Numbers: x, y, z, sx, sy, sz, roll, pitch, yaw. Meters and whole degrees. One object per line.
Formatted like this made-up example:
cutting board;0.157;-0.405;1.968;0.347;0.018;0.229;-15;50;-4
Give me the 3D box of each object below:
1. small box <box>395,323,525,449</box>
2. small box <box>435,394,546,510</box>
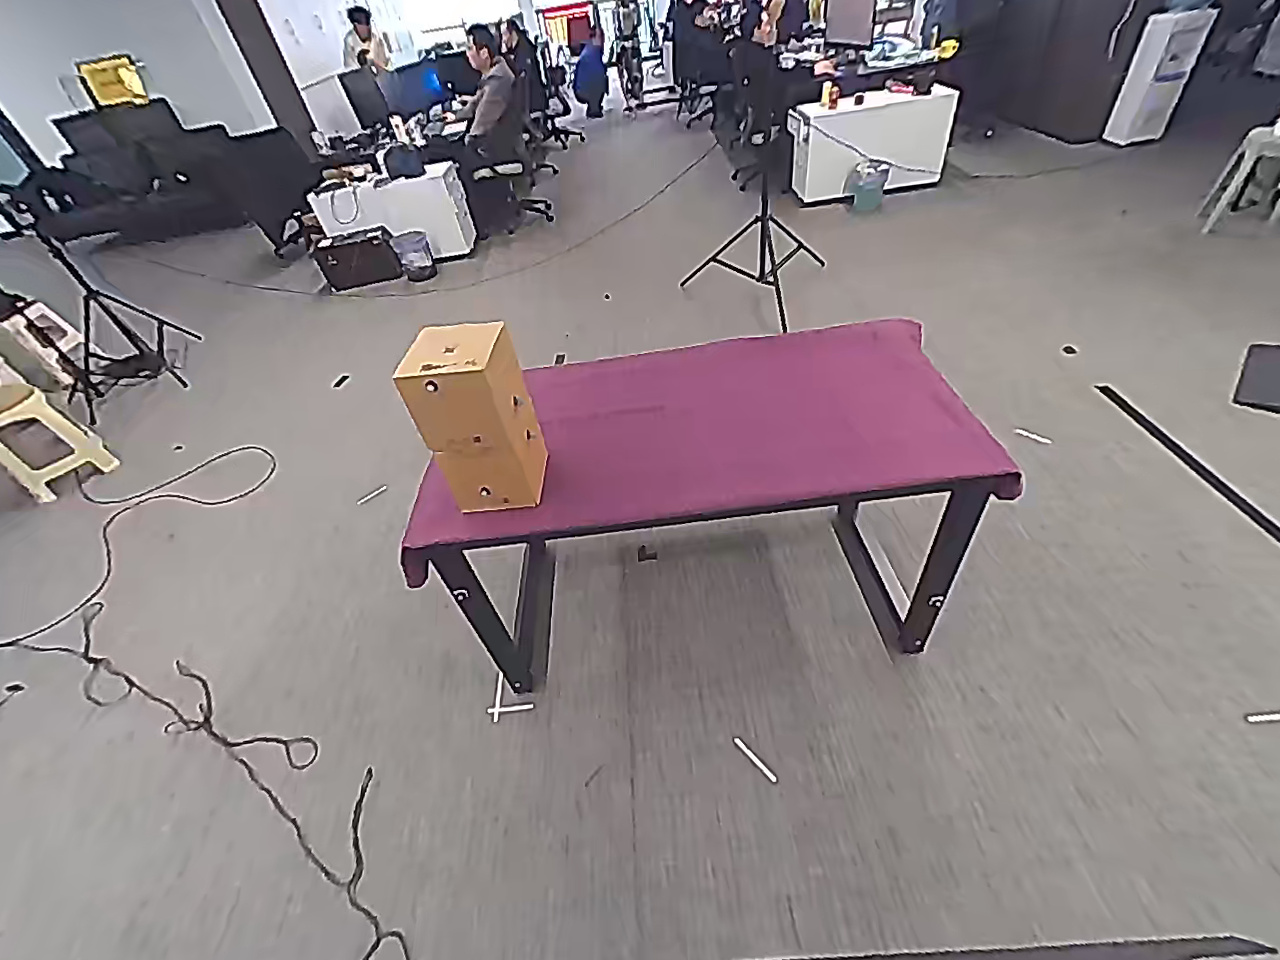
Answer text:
small box;-0.326;-0.177;1.026;0.168;0.176;0.179;-4;42;6
small box;-0.302;-0.058;1.136;0.168;0.176;0.179;-5;43;5
